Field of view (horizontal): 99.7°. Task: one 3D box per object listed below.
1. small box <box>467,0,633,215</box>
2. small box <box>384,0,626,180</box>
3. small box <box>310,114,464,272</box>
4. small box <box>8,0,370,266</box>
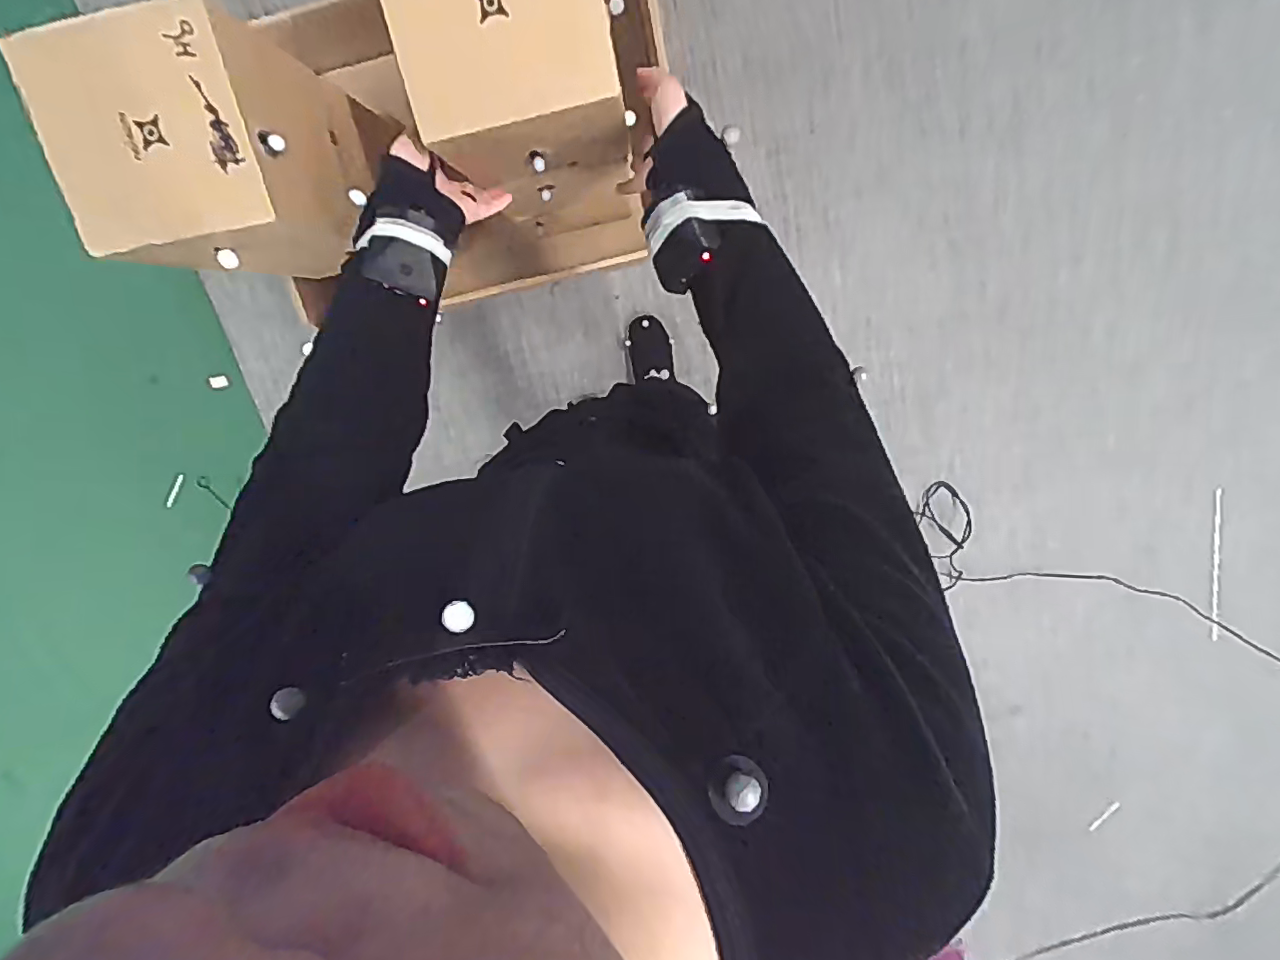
[{"bbox_3d":[-0.108,-0.428,0.641,0.179,0.176,0.168,-8,106,3],"label":"small box"},{"bbox_3d":[-0.109,-0.387,0.482,0.168,0.176,0.179,-10,106,4],"label":"small box"},{"bbox_3d":[-0.397,-0.422,0.827,0.179,0.176,0.168,-9,107,4],"label":"small box"},{"bbox_3d":[-0.402,-0.309,0.520,0.179,0.176,0.168,-8,107,5],"label":"small box"}]
